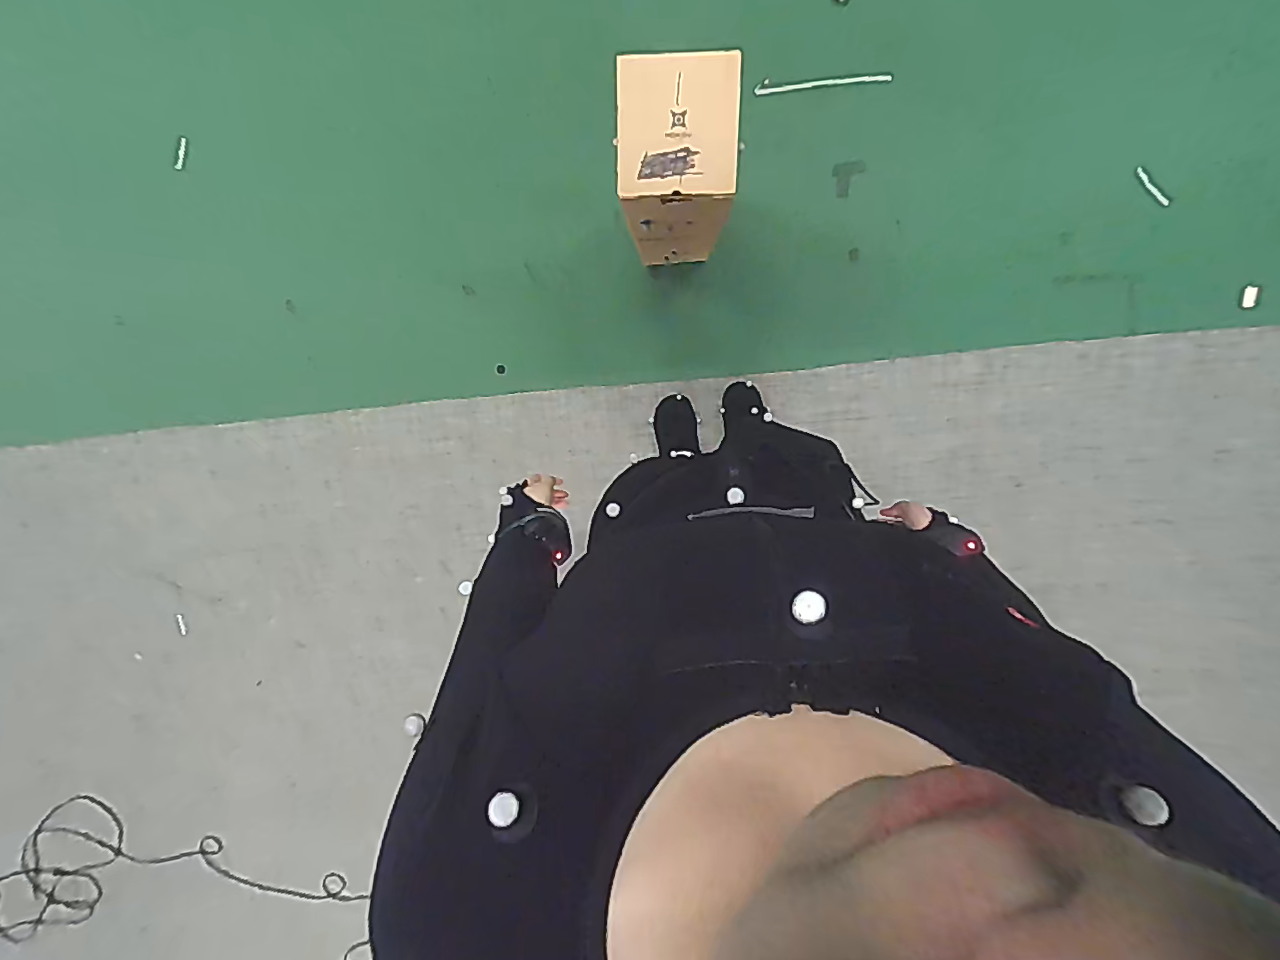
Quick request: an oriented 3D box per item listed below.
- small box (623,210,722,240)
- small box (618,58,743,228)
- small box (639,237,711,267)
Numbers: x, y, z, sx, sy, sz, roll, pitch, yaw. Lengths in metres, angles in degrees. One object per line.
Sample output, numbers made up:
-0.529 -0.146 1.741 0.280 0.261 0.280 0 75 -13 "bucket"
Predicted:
0.064 -0.532 0.962 0.179 0.176 0.168 -1 103 4 "small box"
0.058 -0.484 0.804 0.168 0.176 0.179 1 102 4 "small box"
0.082 -0.610 1.281 0.168 0.176 0.179 -3 102 5 "small box"
